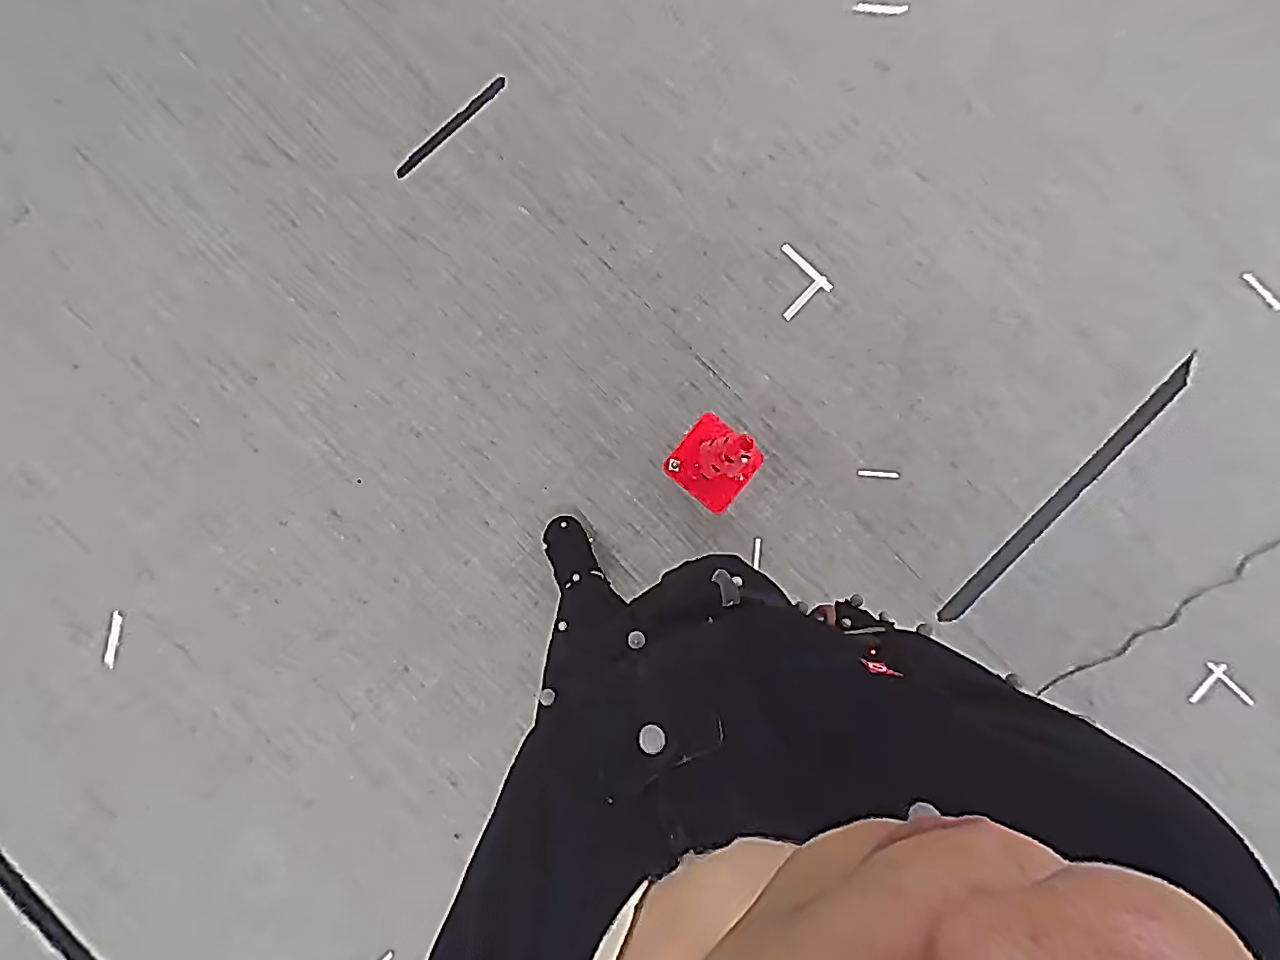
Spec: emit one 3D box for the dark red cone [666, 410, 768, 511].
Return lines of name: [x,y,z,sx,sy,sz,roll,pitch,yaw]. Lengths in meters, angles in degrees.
dark red cone: [0.202,-0.061,1.190,0.201,0.394,0.202,38,85,0]
